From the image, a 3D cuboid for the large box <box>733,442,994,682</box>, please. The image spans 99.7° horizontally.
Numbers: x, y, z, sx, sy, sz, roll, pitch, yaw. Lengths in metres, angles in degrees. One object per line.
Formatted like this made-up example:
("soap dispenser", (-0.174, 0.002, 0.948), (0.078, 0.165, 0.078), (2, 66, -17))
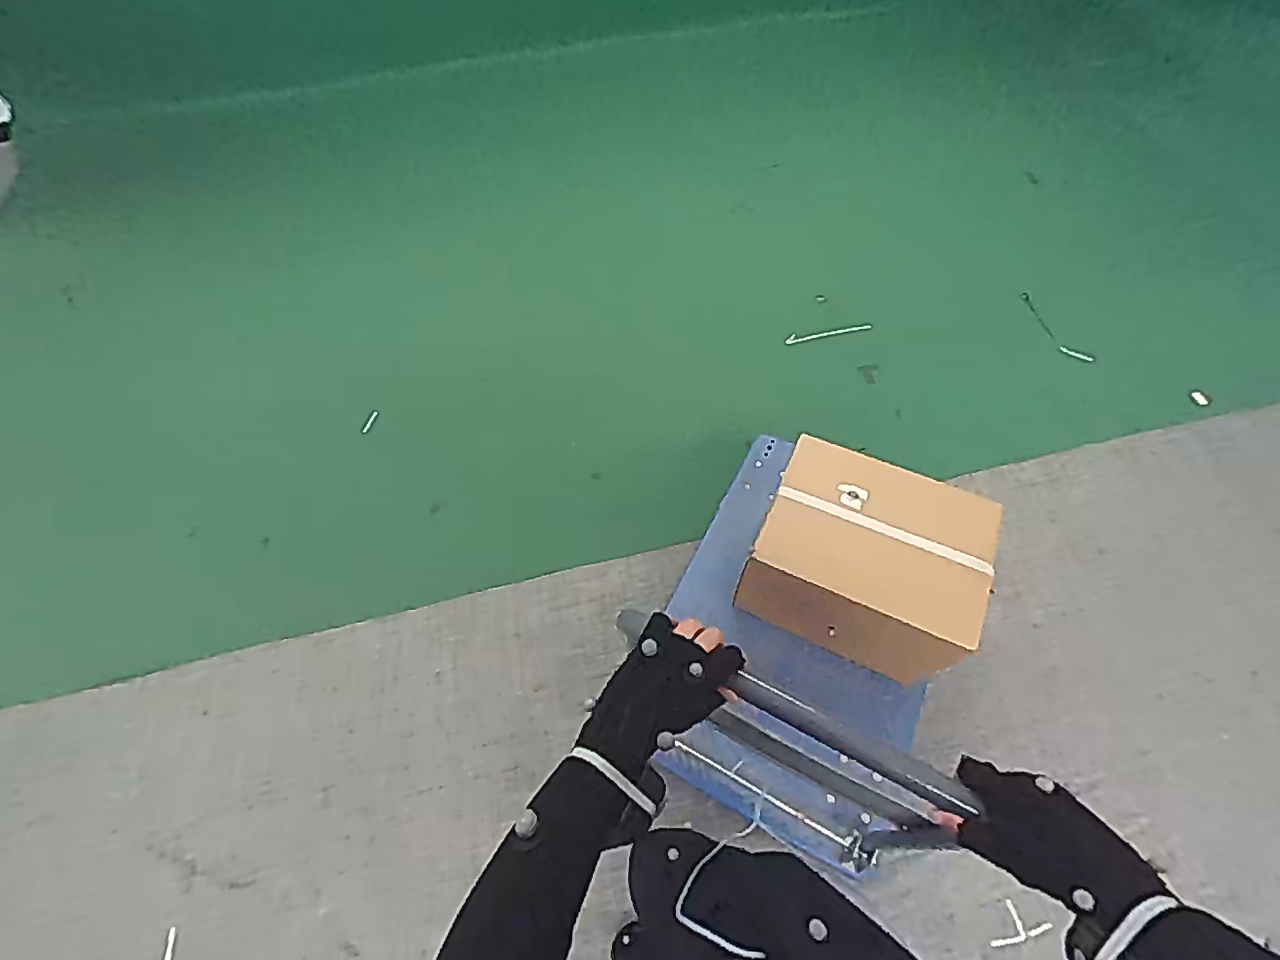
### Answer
("large box", (0.449, 0.179, 1.153), (0.408, 0.320, 0.320), (22, 62, 16))
